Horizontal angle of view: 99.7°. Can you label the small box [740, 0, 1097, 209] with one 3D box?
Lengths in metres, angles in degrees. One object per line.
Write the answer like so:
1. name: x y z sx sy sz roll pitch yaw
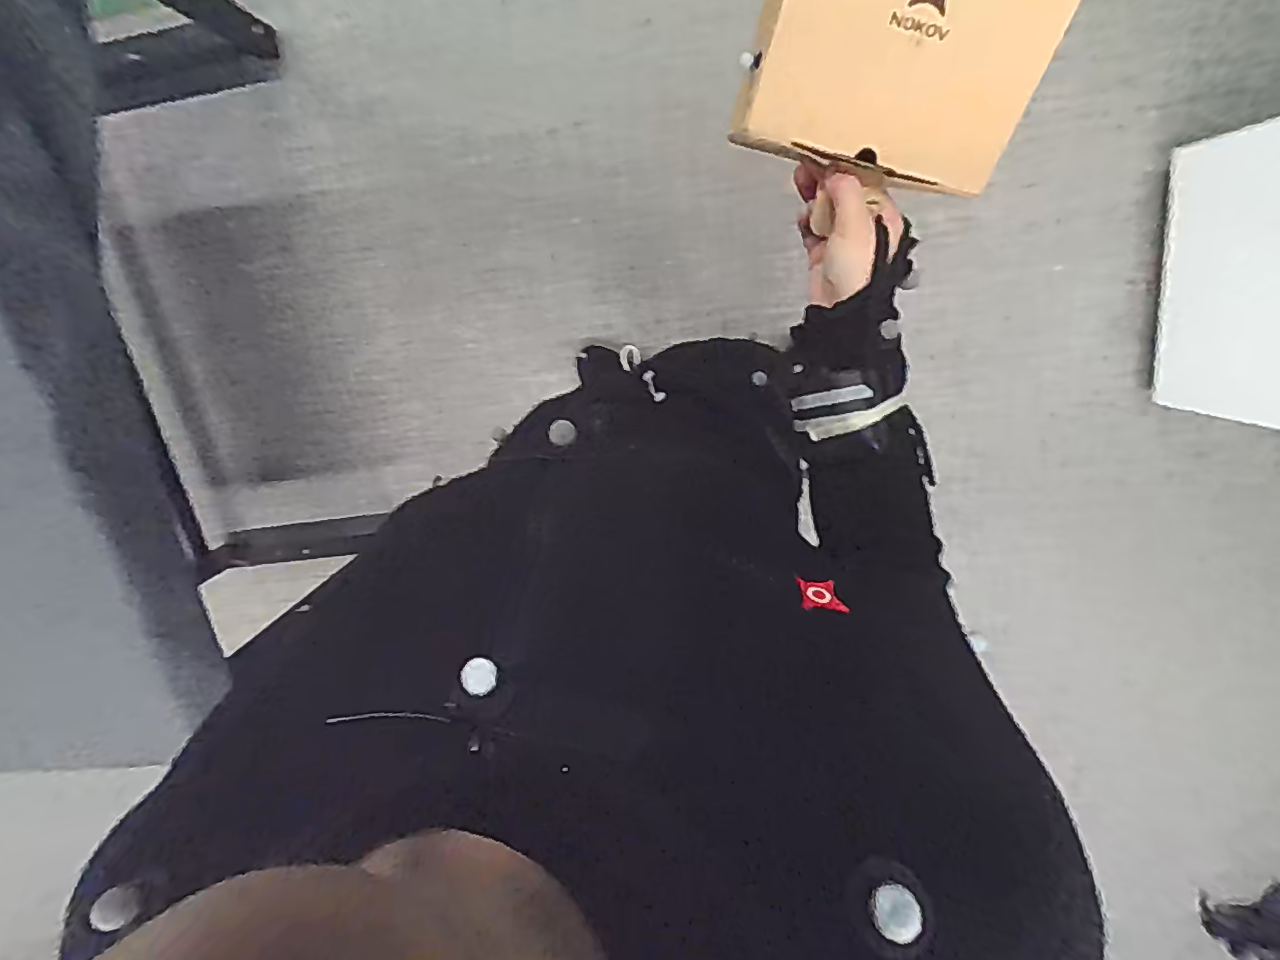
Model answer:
1. small box: 0.178 -0.314 0.380 0.168 0.176 0.179 13 122 -5
